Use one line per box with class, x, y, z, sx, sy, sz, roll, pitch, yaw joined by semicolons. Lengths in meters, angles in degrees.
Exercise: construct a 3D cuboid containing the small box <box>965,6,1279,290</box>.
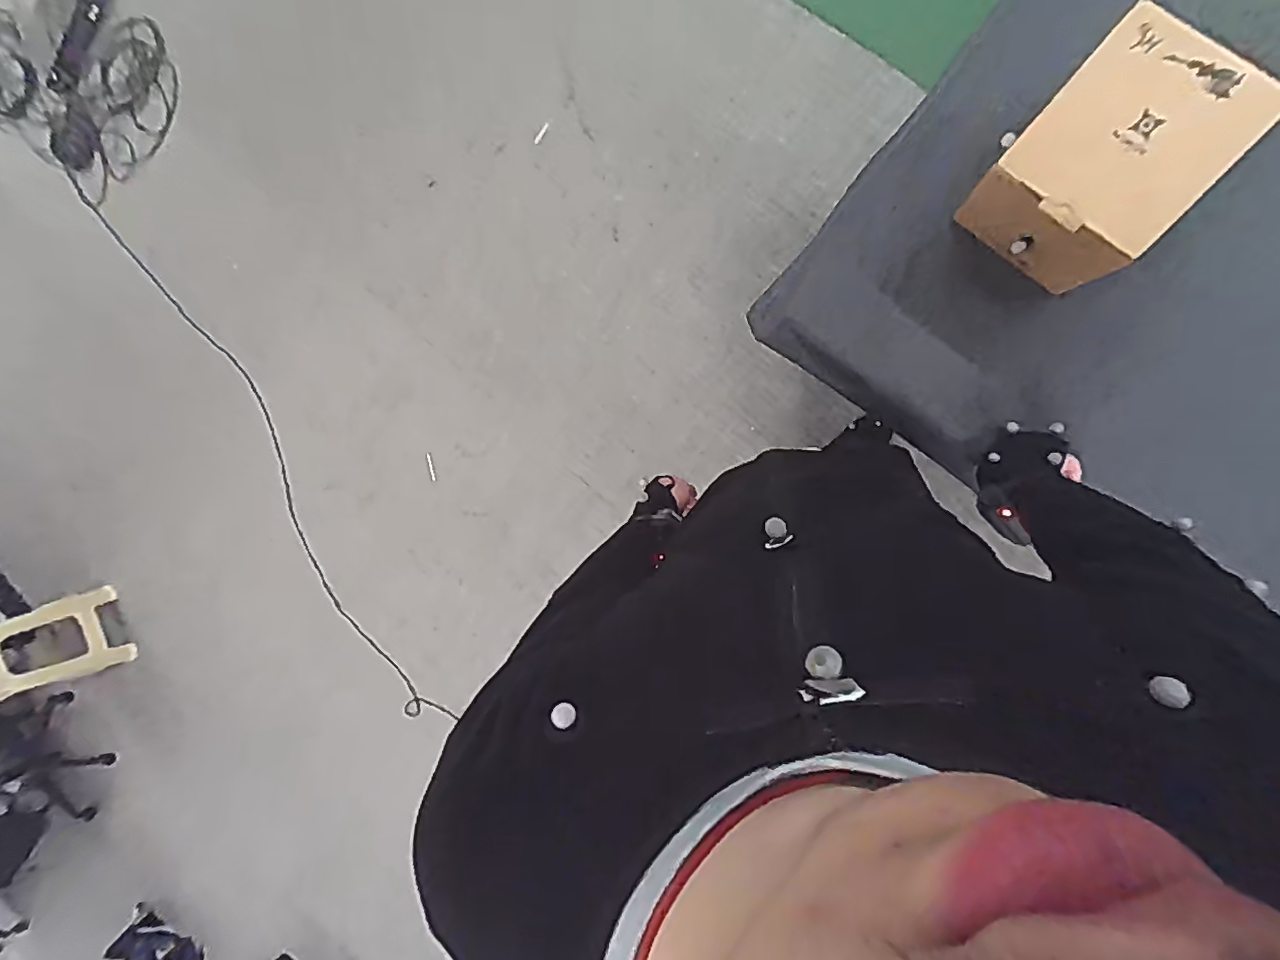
small box;0.494;-0.336;0.593;0.168;0.176;0.179;42;107;7
